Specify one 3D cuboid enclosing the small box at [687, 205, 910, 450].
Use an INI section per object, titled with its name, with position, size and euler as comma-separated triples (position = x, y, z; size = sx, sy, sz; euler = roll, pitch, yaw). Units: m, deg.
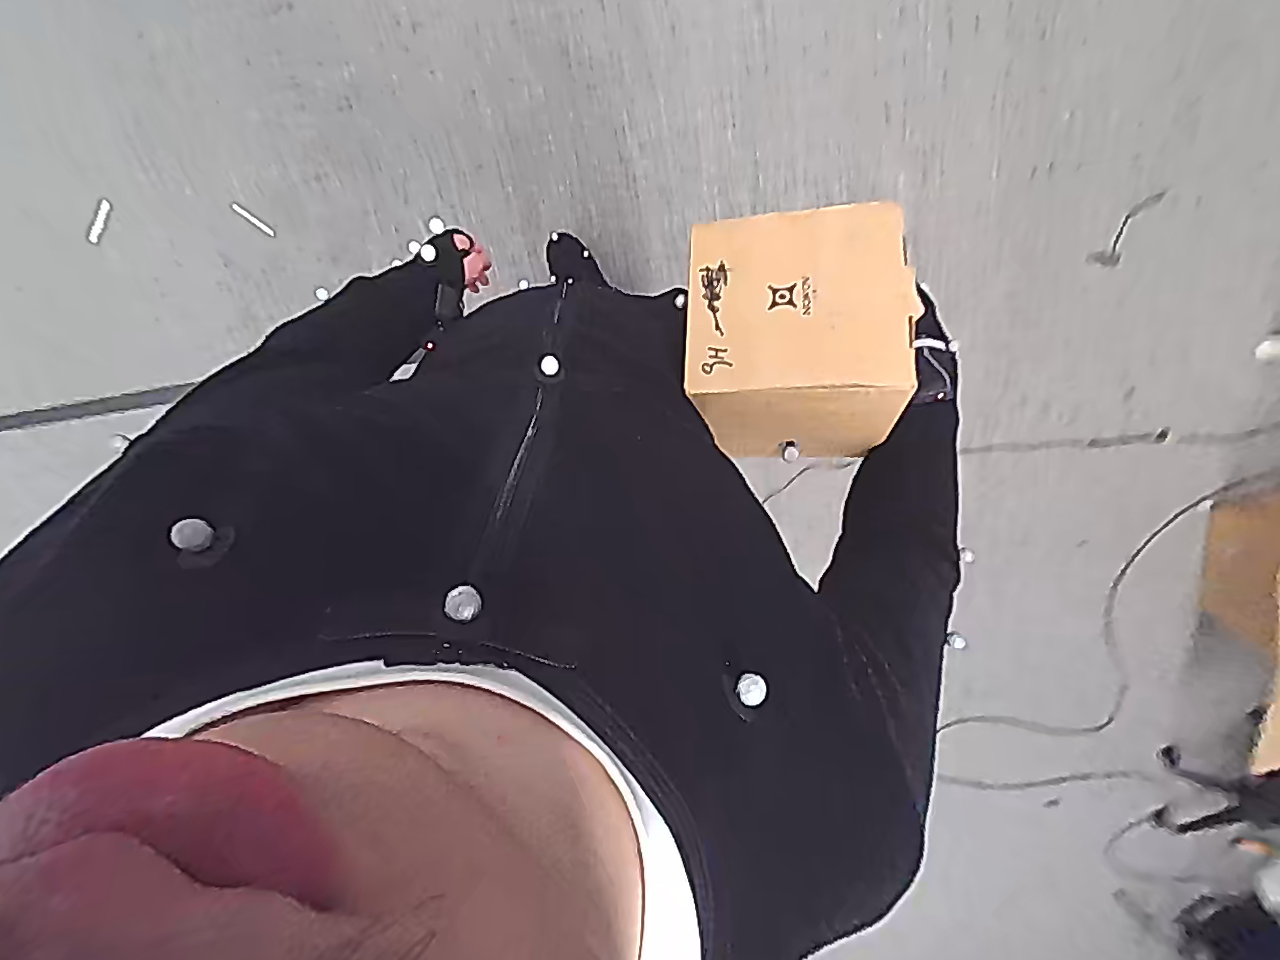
[small box]
position = 0.145, -0.132, 0.528
size = 0.179, 0.176, 0.168
euler = 0, 74, 13
